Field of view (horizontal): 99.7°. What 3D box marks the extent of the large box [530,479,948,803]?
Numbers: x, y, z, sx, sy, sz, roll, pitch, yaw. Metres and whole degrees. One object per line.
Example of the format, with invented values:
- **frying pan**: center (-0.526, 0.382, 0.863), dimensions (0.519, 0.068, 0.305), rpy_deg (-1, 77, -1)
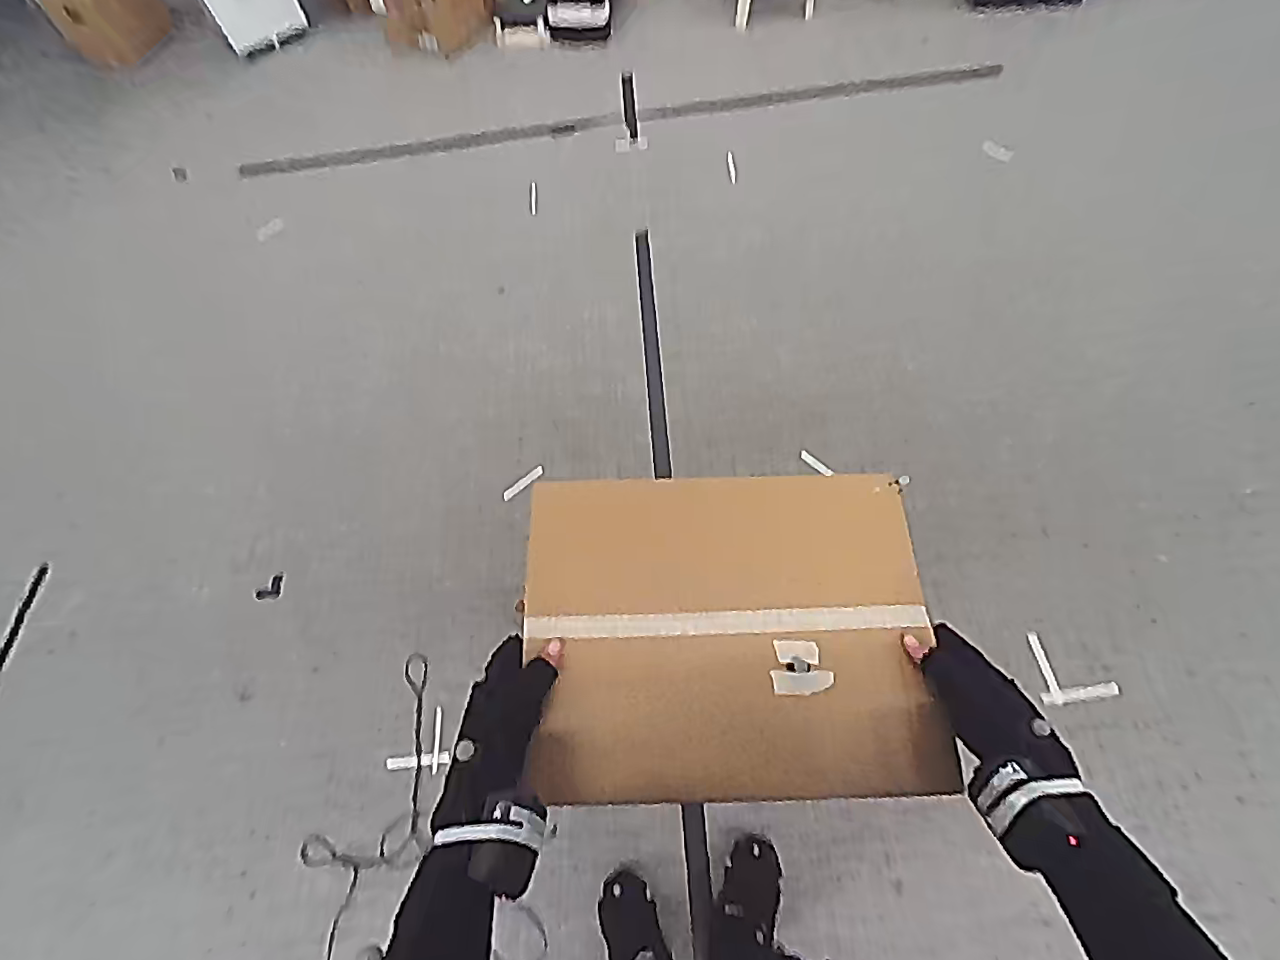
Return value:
- **large box**: center (0.086, 0.205, 0.697), dimensions (0.408, 0.320, 0.320), rpy_deg (-2, 68, -1)
